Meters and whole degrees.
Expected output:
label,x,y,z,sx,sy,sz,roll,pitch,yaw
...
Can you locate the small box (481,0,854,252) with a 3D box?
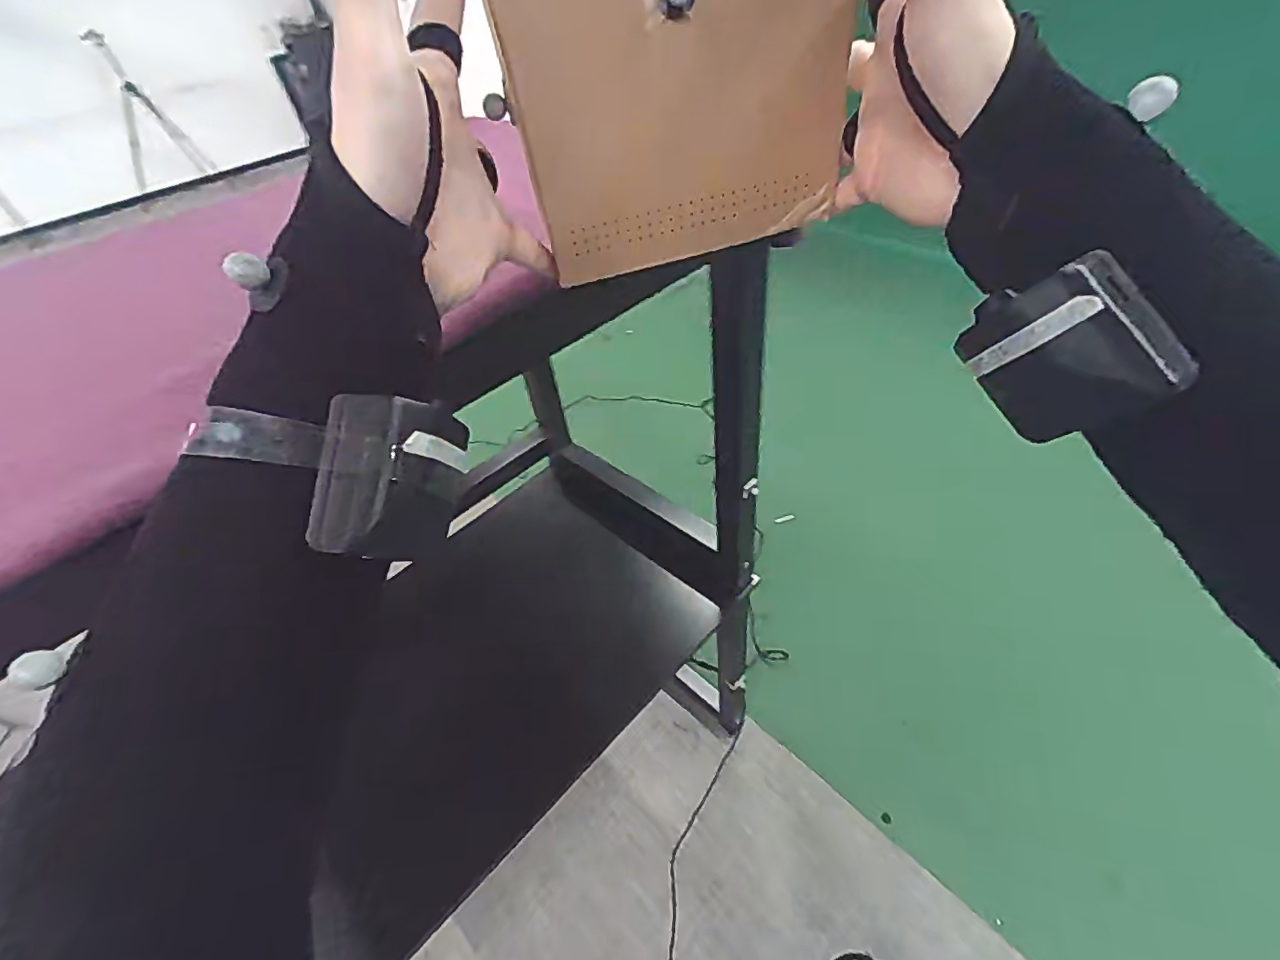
label,x,y,z,sx,sy,sz,roll,pitch,yaw
small box,0.008,-0.251,0.304,0.179,0.176,0.168,-13,48,-2
